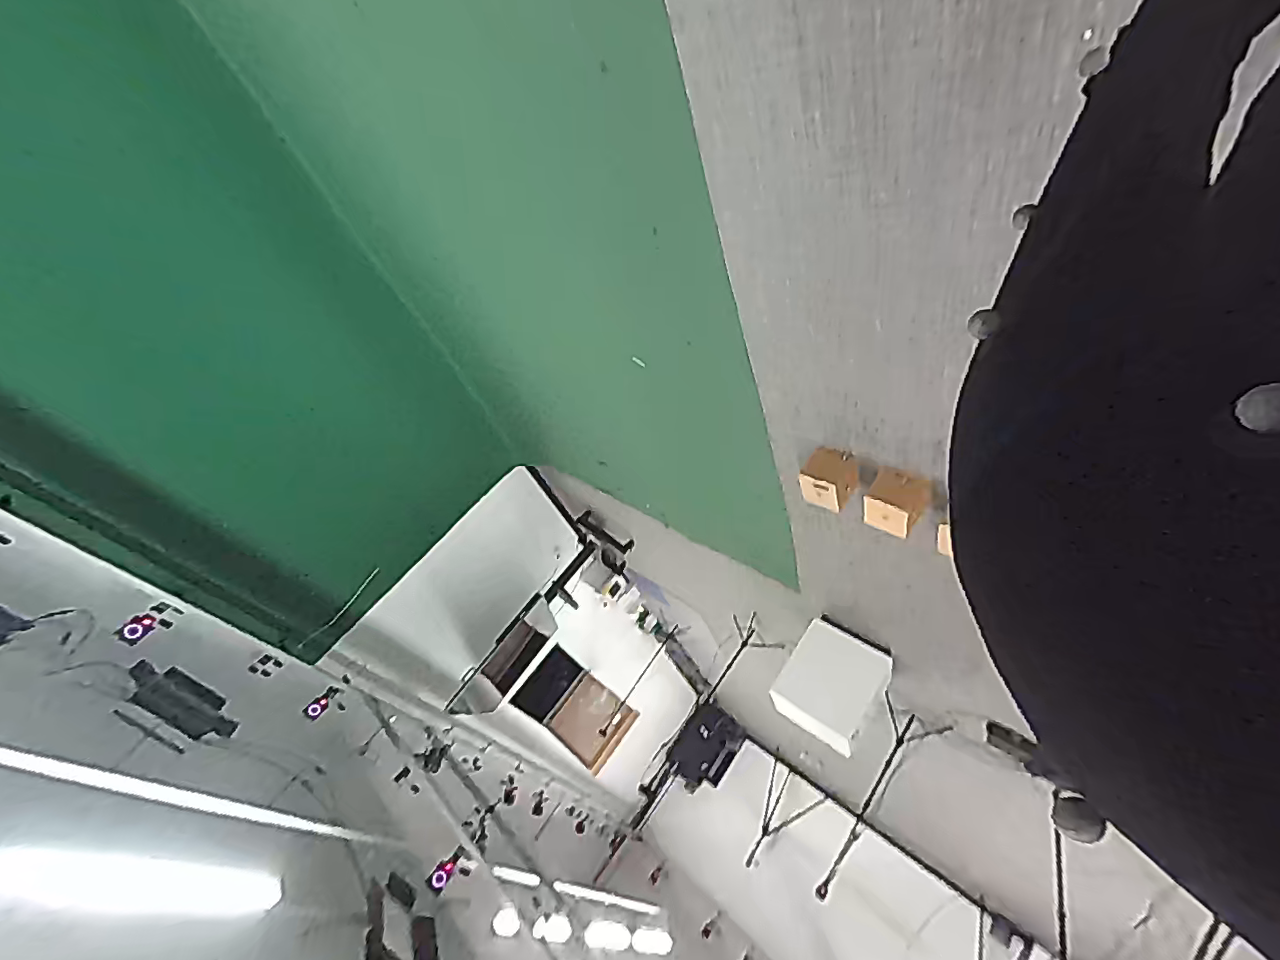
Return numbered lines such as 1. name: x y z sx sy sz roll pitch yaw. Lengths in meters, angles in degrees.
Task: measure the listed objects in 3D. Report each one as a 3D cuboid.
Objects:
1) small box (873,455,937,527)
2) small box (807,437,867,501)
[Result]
1. small box: 0.997 0.039 2.035 0.168 0.176 0.179 26 155 38
2. small box: 0.808 -0.049 2.206 0.168 0.176 0.179 24 155 41
